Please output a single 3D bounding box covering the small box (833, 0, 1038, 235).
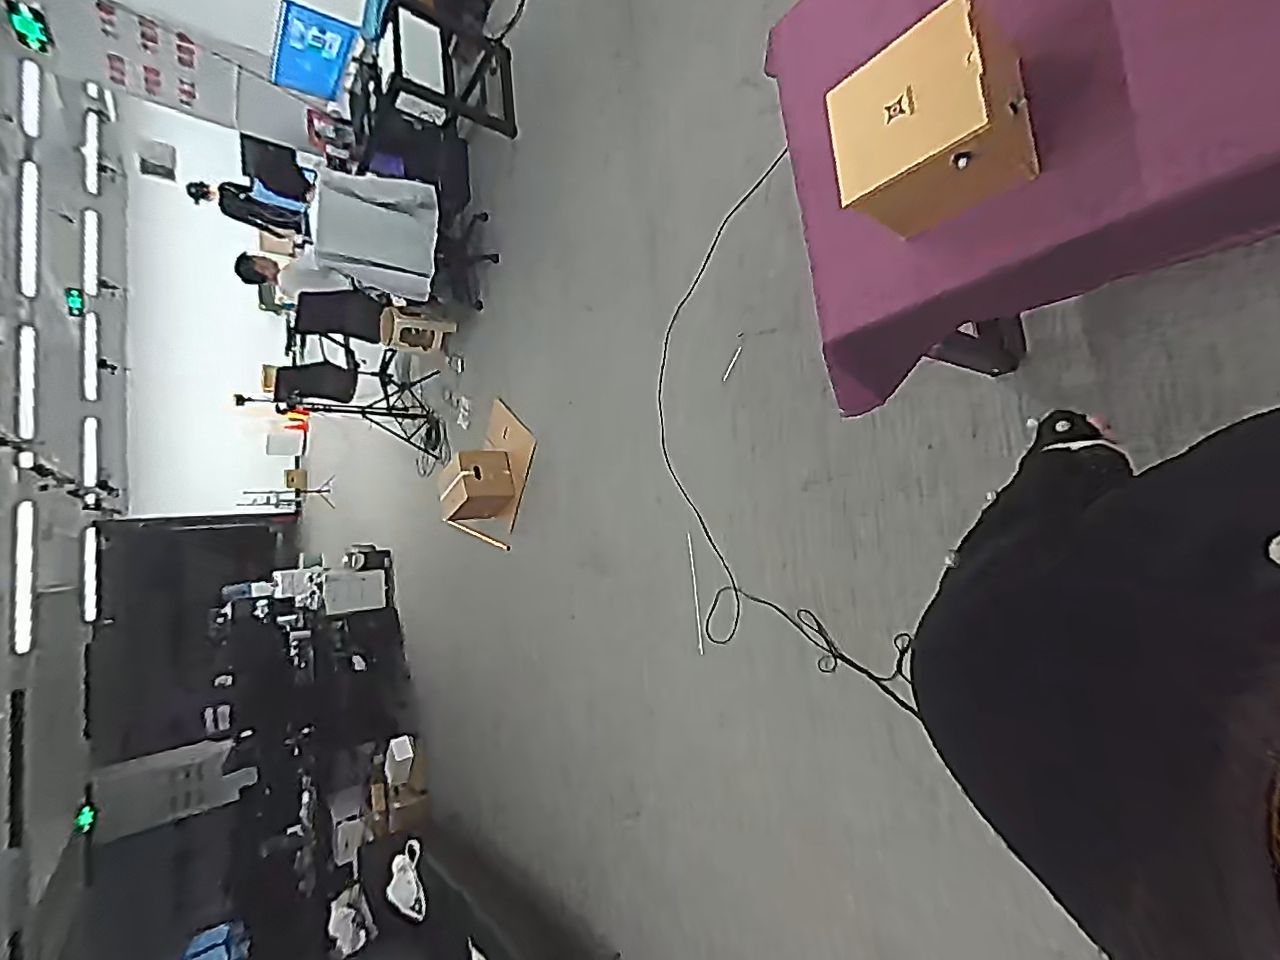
[{"bbox_3d":[0.385,-0.454,0.712,0.179,0.176,0.168,-13,80,50],"label":"small box"}]
